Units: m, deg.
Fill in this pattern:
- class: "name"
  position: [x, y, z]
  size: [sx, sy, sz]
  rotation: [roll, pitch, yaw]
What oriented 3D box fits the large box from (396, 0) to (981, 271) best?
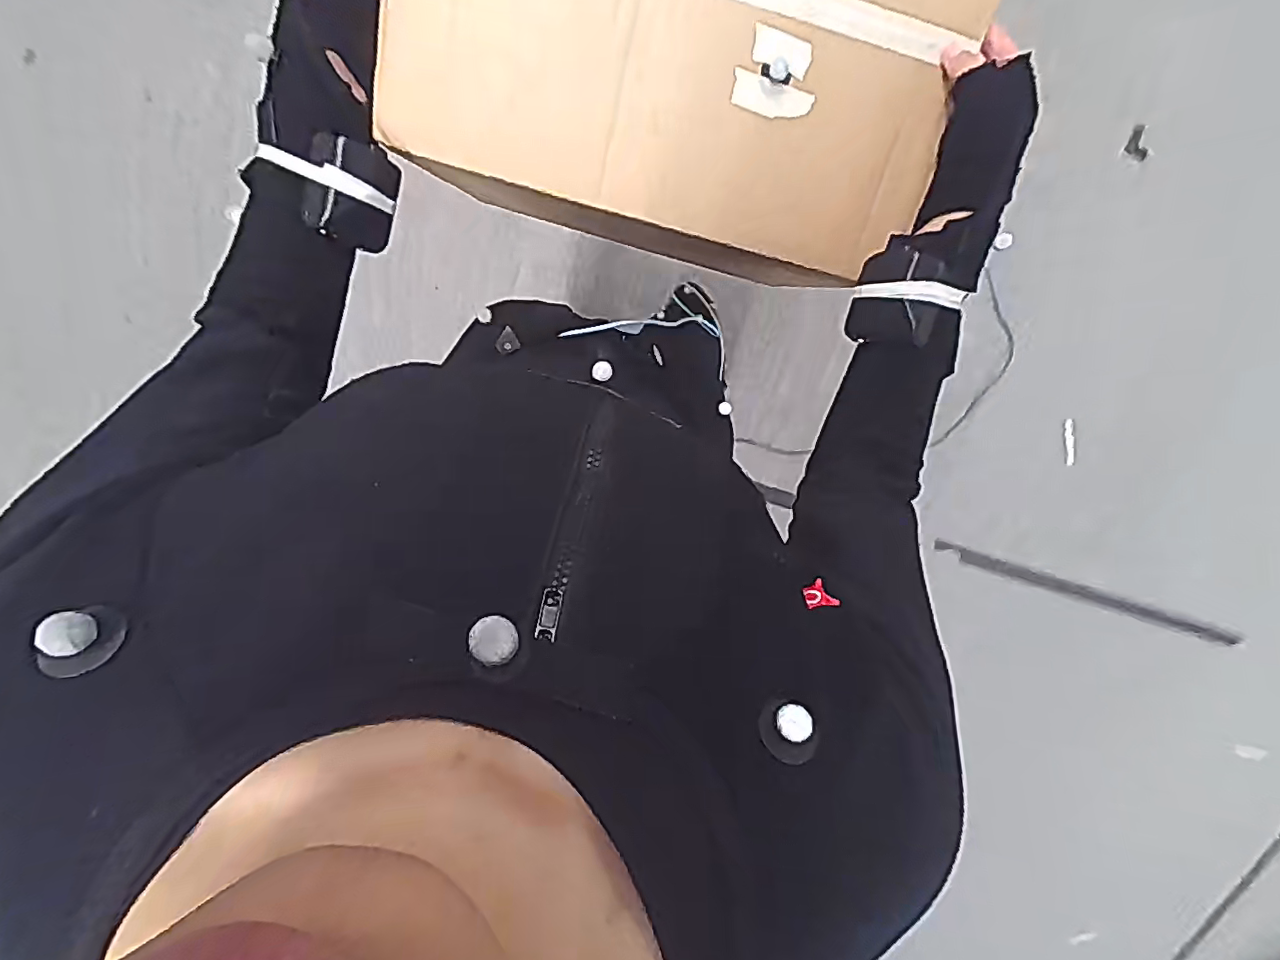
- class: "large box"
  position: [0.033, -0.402, 0.511]
  size: [0.408, 0.320, 0.320]
  rotation: [11, 110, -7]
